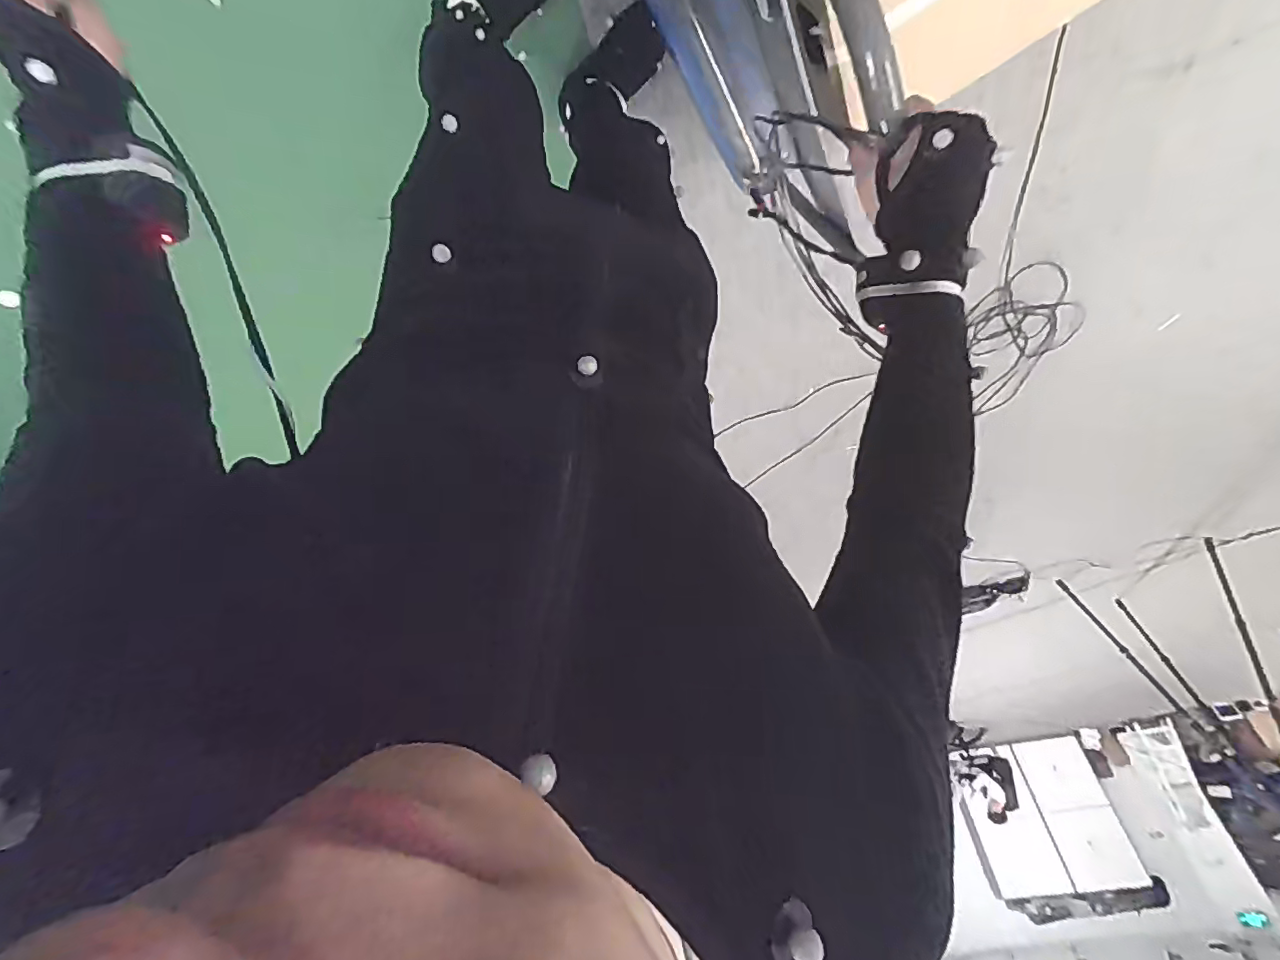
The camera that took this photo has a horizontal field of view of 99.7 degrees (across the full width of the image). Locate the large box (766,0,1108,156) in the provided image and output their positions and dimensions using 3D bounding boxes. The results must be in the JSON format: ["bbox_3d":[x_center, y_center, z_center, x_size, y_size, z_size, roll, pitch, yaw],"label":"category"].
[{"bbox_3d":[0.403,-0.760,0.742,0.408,0.320,0.320,-28,142,16],"label":"large box"}]
